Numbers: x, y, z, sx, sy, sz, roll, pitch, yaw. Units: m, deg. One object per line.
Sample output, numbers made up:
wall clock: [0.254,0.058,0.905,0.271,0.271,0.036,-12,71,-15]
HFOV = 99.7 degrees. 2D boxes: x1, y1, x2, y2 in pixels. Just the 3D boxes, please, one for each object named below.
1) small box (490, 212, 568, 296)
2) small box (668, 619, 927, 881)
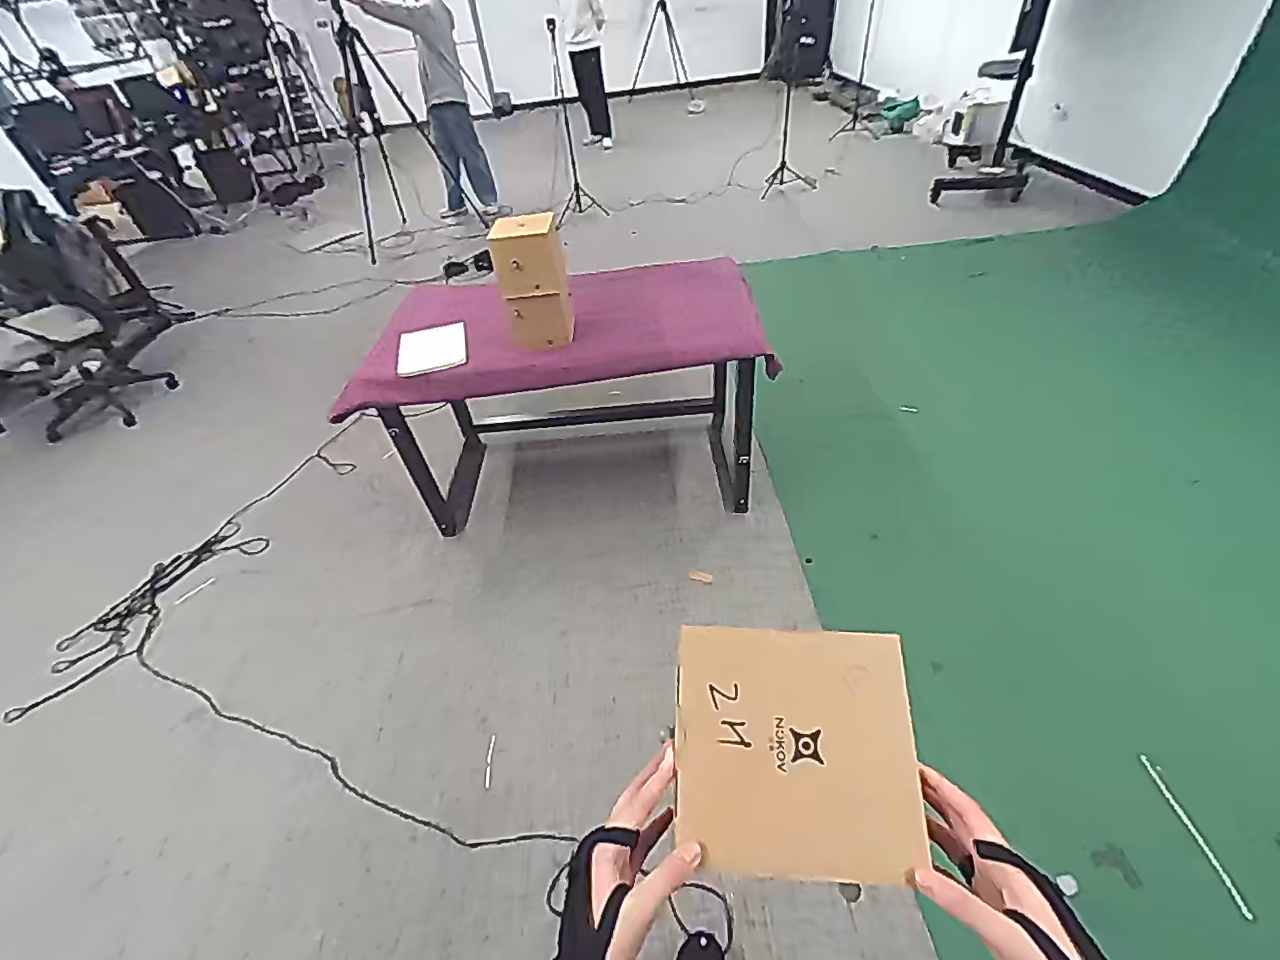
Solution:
small box: [-0.301,-0.626,1.512,0.168,0.176,0.179,-5,41,3]
small box: [0.116,0.224,0.472,0.179,0.176,0.168,2,64,5]
